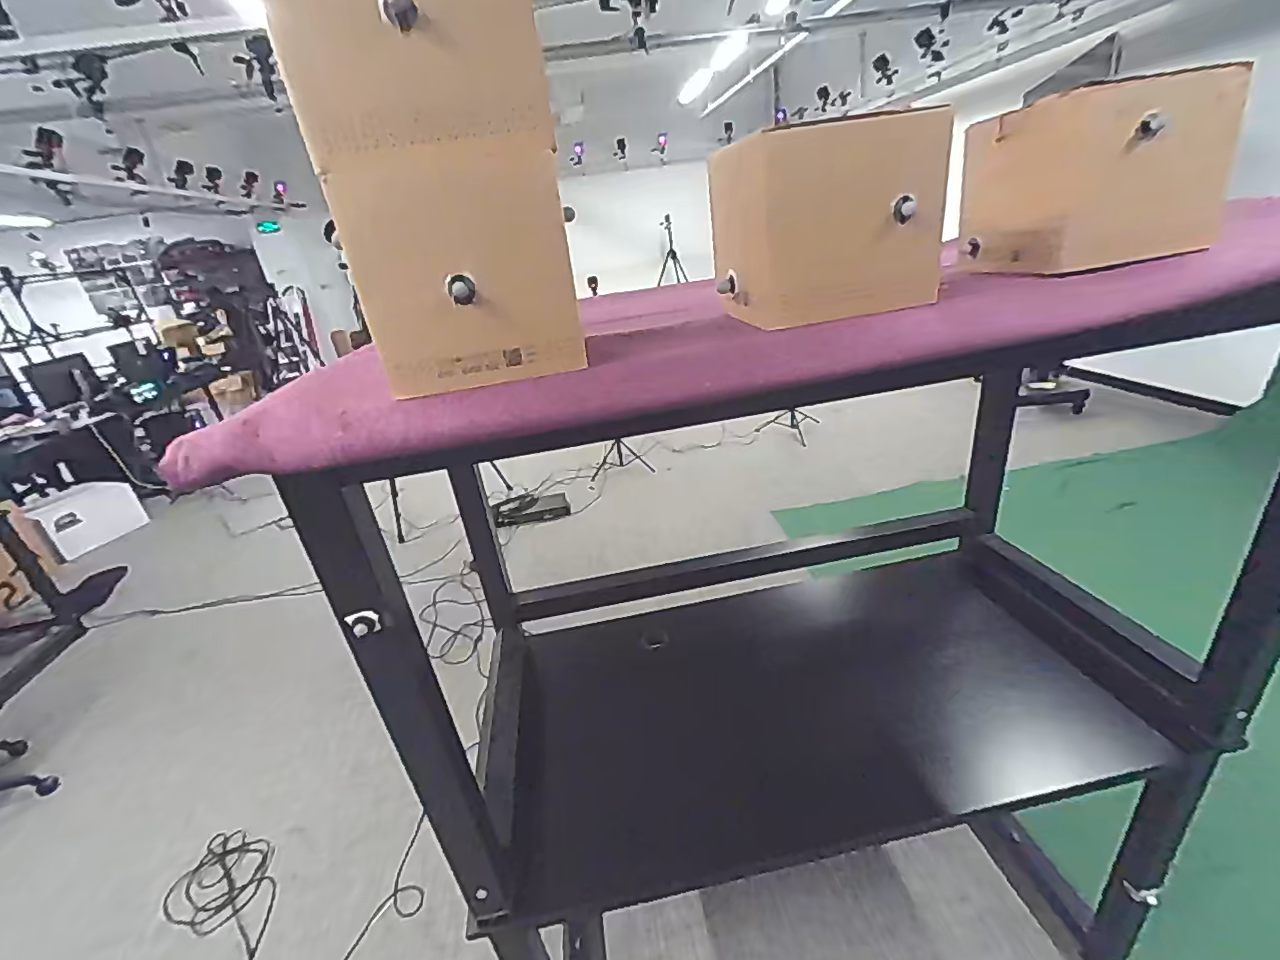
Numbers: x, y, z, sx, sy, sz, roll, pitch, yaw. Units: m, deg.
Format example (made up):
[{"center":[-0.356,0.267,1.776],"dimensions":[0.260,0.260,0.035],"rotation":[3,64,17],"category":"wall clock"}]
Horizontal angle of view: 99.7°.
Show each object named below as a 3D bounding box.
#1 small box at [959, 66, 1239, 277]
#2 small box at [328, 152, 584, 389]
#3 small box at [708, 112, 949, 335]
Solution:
[{"center":[0.492,-0.329,0.612],"dimensions":[0.179,0.176,0.168],"rotation":[-10,22,-3],"category":"small box"},{"center":[-0.150,-0.188,0.503],"dimensions":[0.168,0.176,0.179],"rotation":[-10,25,-7],"category":"small box"},{"center":[0.180,-0.258,0.562],"dimensions":[0.179,0.176,0.168],"rotation":[-12,24,-5],"category":"small box"}]
